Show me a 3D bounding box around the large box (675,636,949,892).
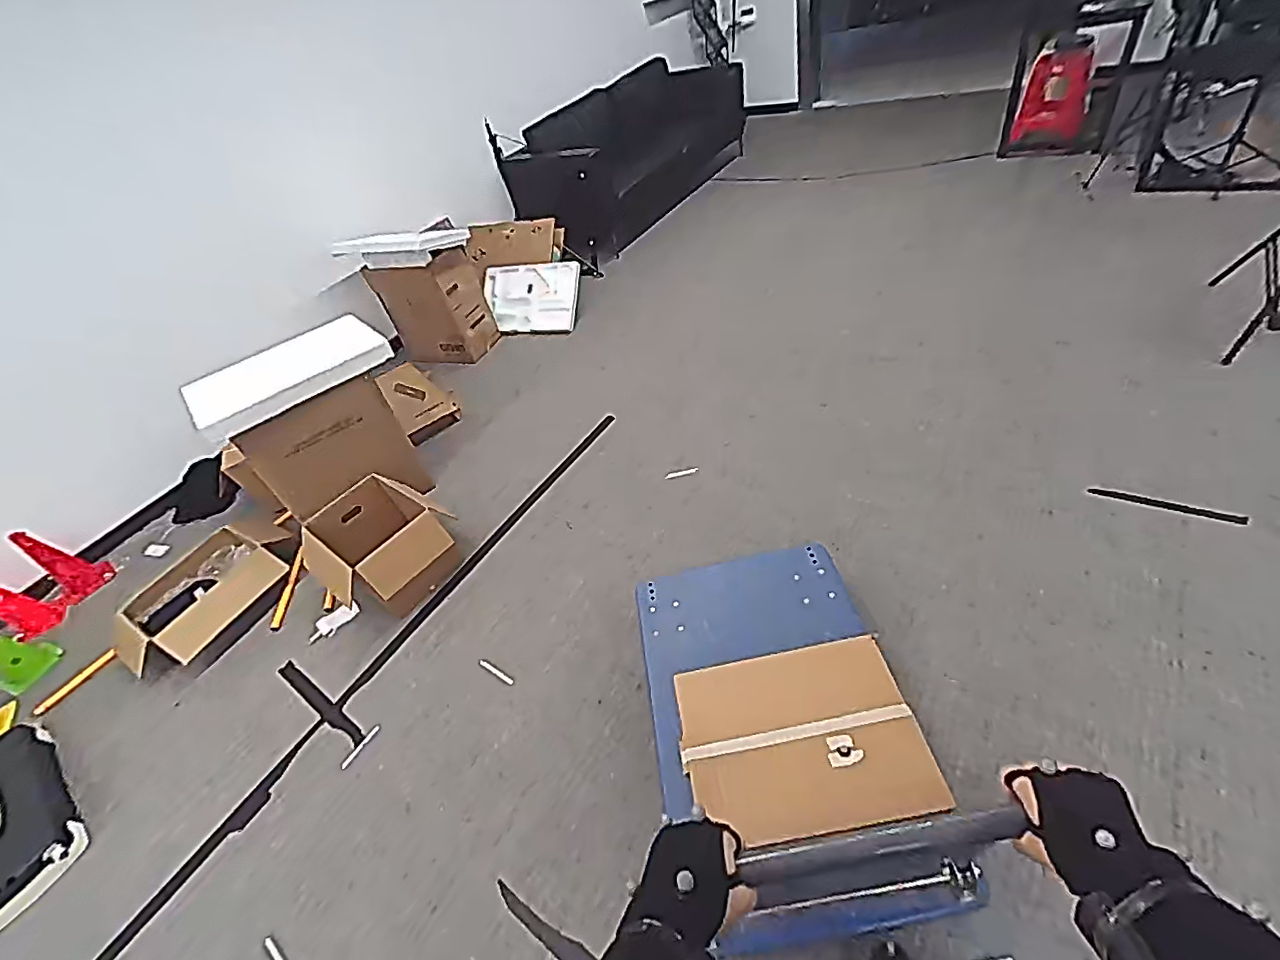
[{"bbox_3d":[0.307,0.561,1.067,0.408,0.320,0.320,-13,43,2],"label":"large box"}]
